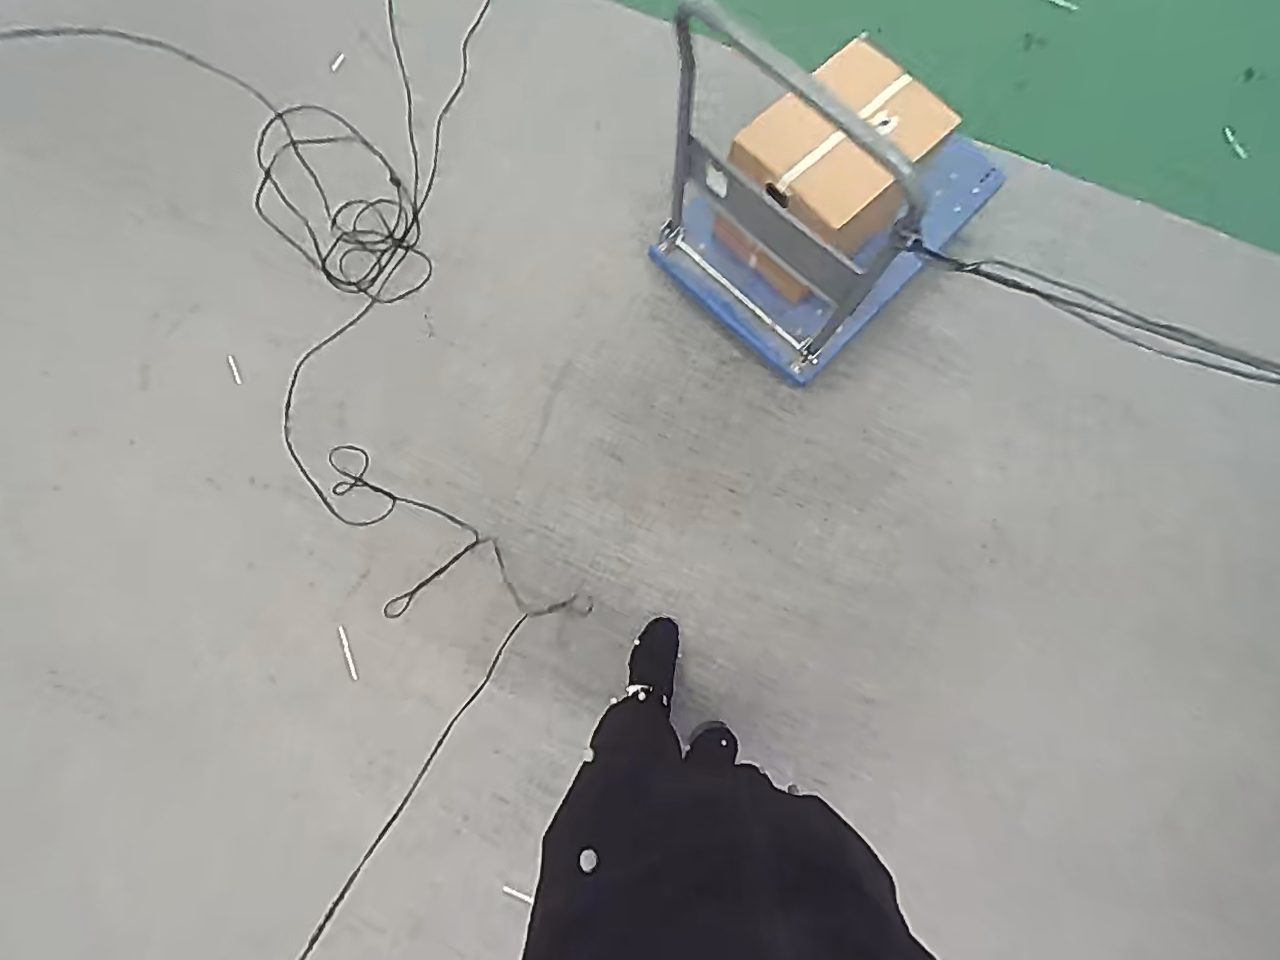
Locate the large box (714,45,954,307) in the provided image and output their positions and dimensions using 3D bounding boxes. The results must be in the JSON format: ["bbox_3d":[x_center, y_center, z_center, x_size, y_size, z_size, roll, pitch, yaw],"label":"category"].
[{"bbox_3d":[0.440,-0.713,1.314,0.408,0.320,0.320,-42,82,-9],"label":"large box"}]
